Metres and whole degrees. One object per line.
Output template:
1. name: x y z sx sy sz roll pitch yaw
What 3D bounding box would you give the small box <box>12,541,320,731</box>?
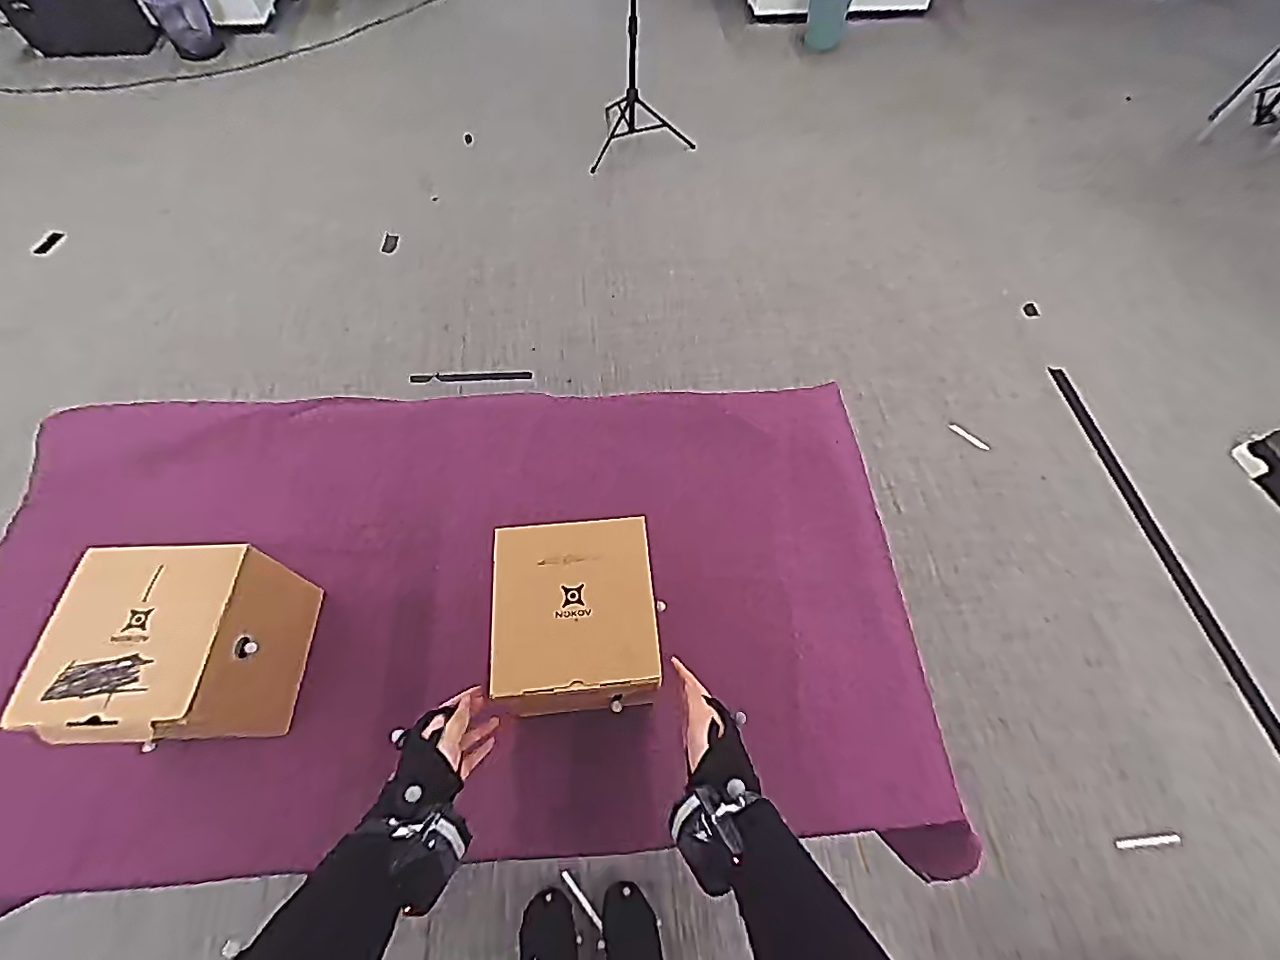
1. small box: -0.491 0.180 0.600 0.168 0.176 0.179 -1 60 -2

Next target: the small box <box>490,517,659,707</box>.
1. small box: -0.068 0.160 0.623 0.168 0.176 0.179 -4 61 -4
